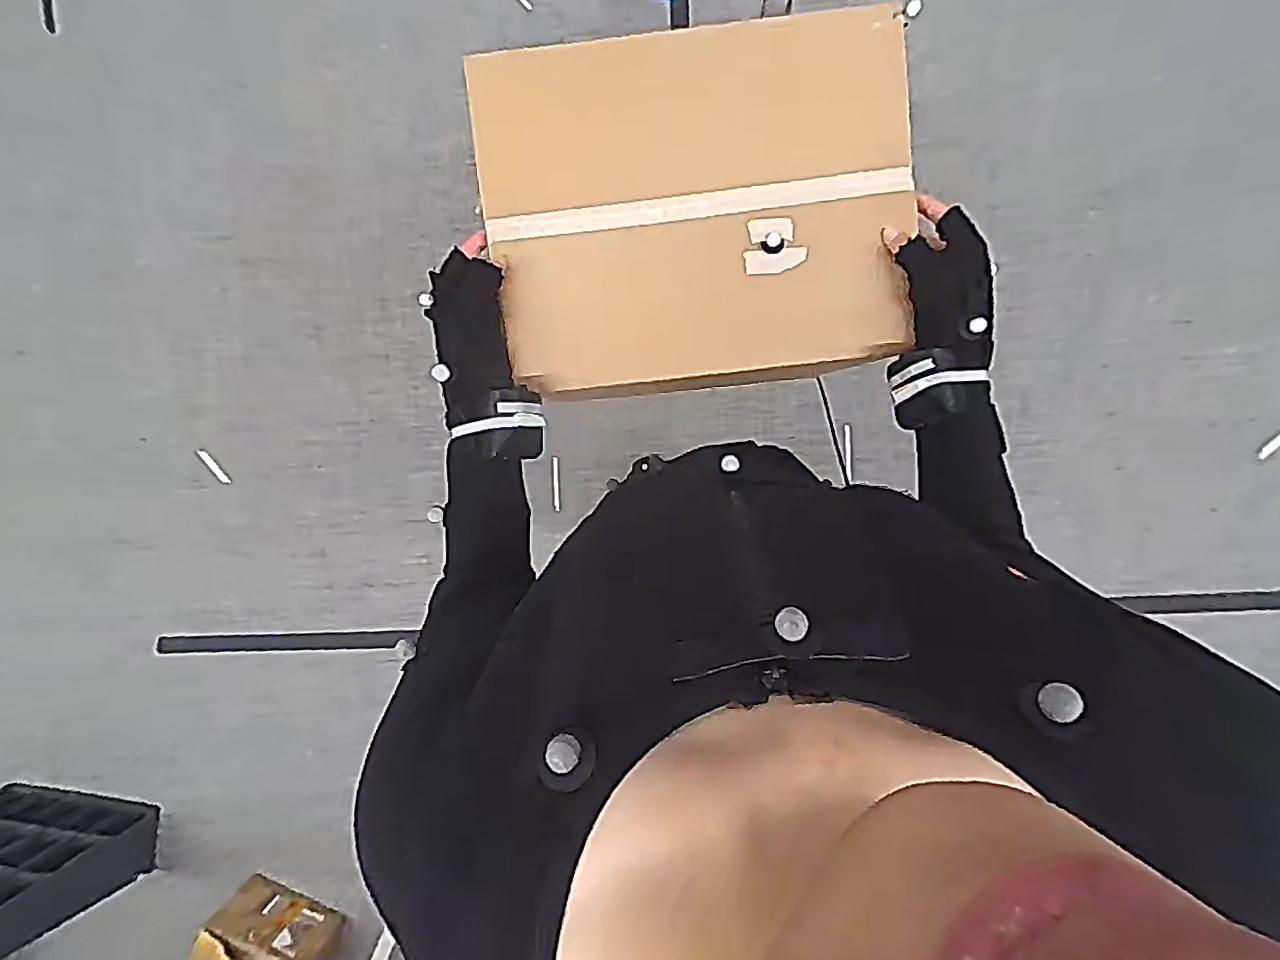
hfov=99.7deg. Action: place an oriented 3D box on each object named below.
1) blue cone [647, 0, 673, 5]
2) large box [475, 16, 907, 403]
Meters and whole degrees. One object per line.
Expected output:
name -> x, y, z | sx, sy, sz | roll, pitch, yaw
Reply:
blue cone -> 0.016, -1.404, 1.310 | 0.193, 0.380, 0.192 | 19, 93, 4
large box -> 0.053, -0.278, 0.675 | 0.408, 0.320, 0.320 | -6, 96, 1
